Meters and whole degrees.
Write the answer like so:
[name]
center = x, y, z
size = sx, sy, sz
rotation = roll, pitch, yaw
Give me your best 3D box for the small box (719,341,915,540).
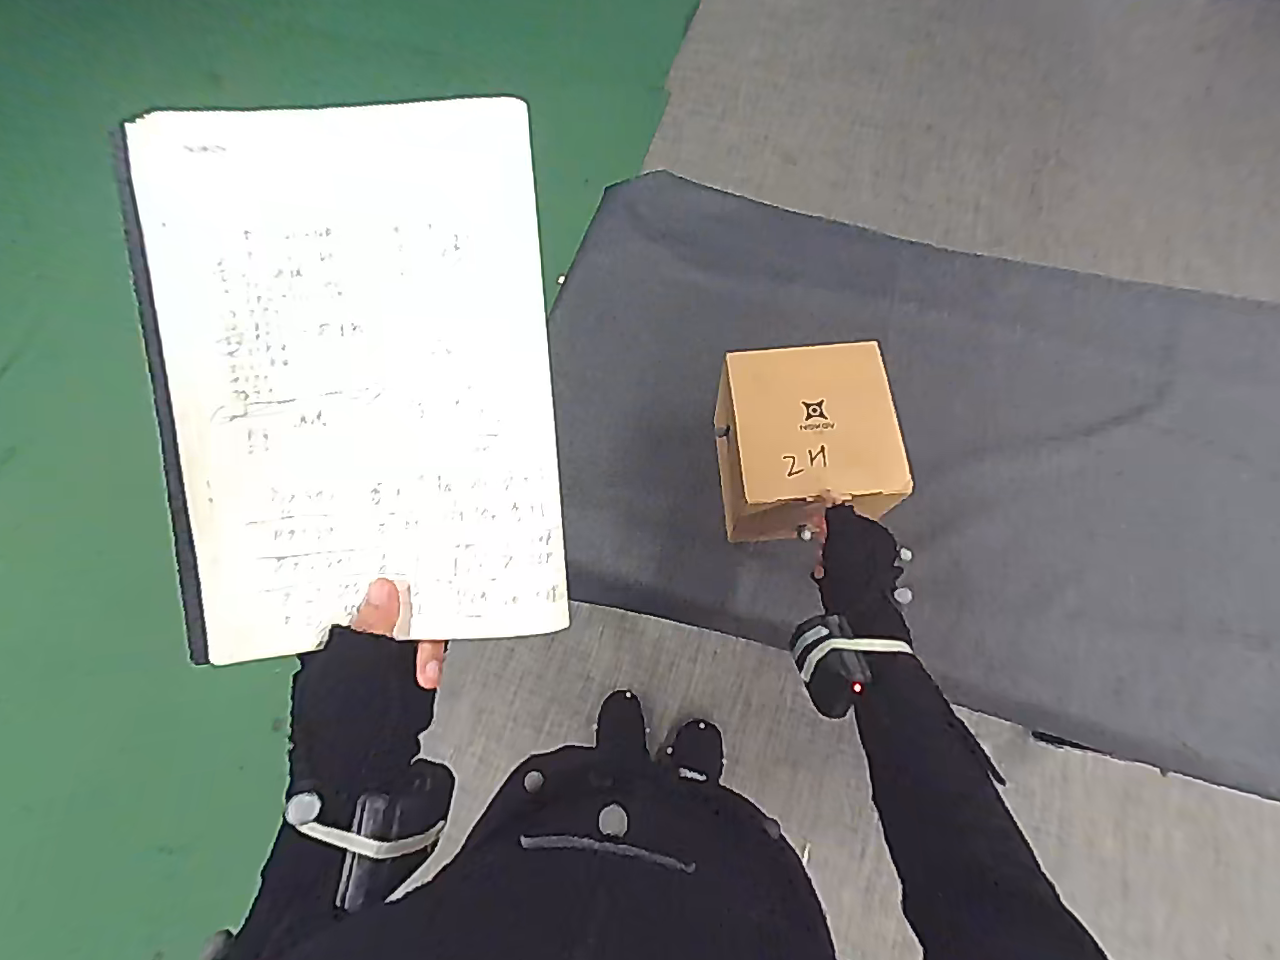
[small box]
center = 0.188, -0.038, 0.635
size = 0.168, 0.176, 0.179
rotation = -4, 70, 2
